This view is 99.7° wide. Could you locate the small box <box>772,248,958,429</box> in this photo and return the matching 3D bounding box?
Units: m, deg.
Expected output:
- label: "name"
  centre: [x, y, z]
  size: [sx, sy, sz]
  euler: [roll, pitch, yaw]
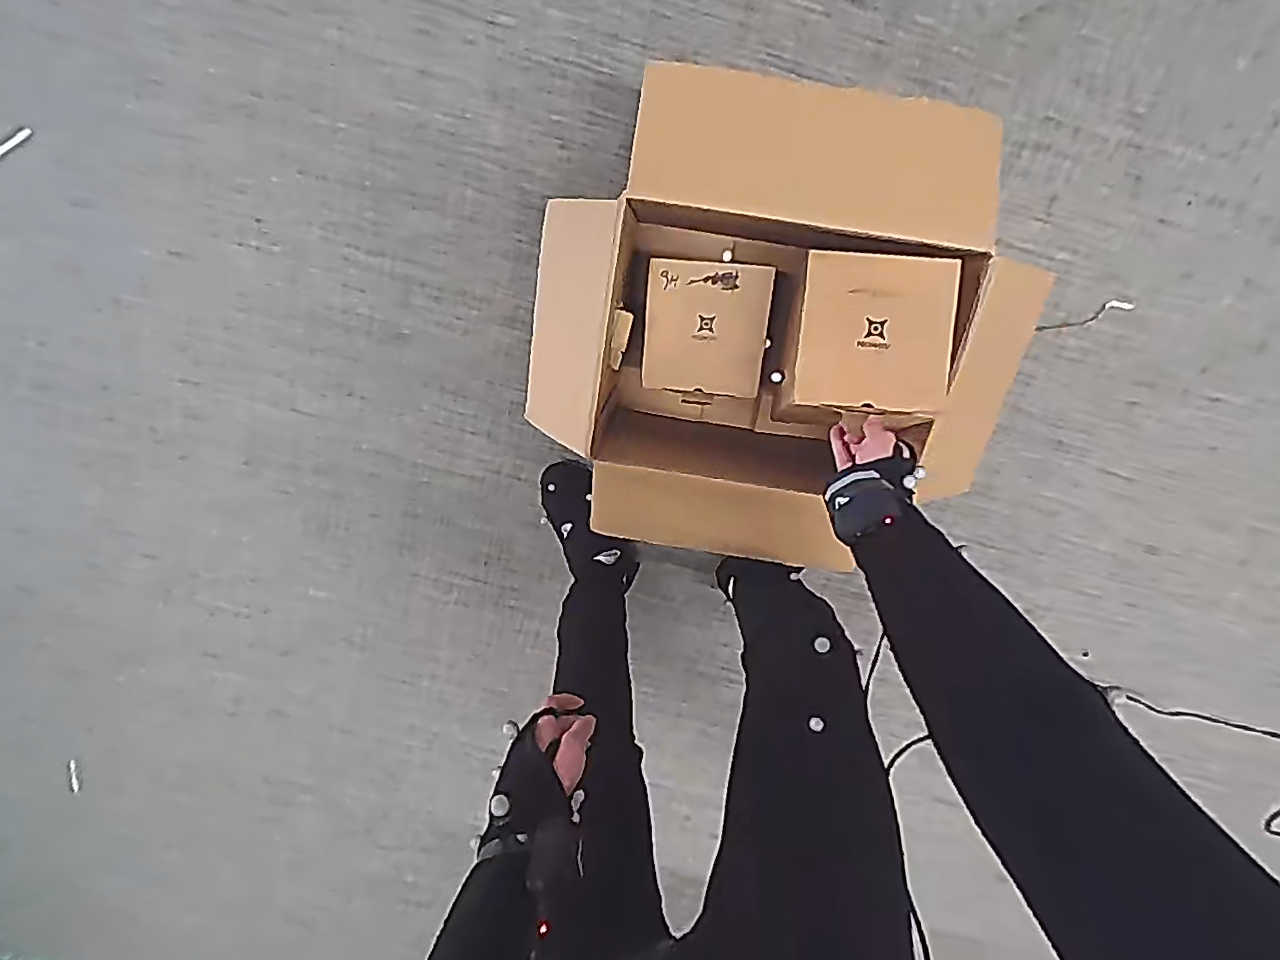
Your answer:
- label: "small box"
  centre: [0.266, -0.164, 0.679]
  size: [0.168, 0.176, 0.179]
  euler: [7, 89, 6]
